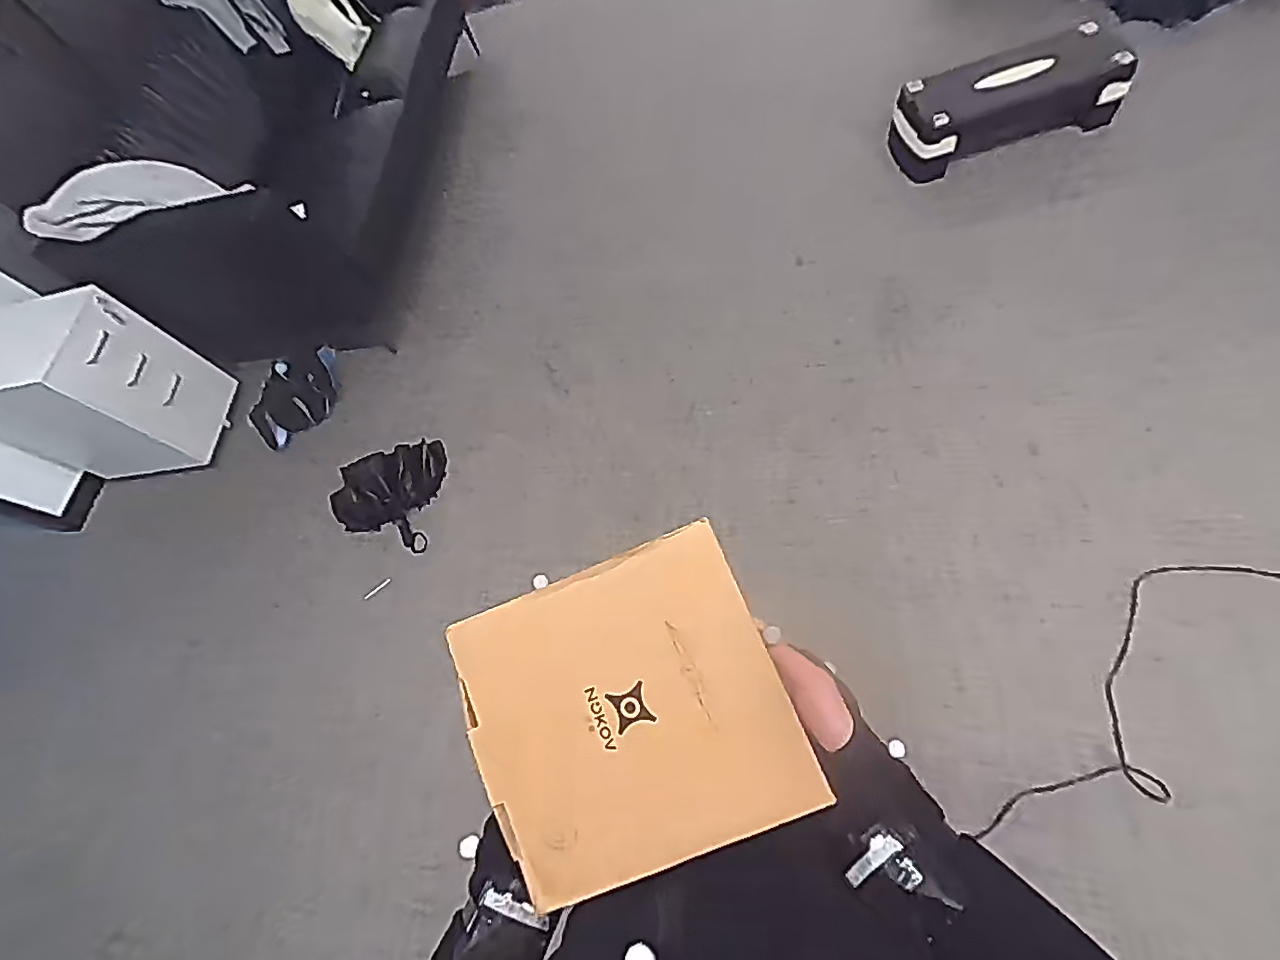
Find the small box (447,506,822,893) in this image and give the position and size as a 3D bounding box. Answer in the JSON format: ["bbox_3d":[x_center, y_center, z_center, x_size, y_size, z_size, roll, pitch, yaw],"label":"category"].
[{"bbox_3d":[0.001,0.134,0.386,0.179,0.176,0.168,-25,80,3],"label":"small box"}]
